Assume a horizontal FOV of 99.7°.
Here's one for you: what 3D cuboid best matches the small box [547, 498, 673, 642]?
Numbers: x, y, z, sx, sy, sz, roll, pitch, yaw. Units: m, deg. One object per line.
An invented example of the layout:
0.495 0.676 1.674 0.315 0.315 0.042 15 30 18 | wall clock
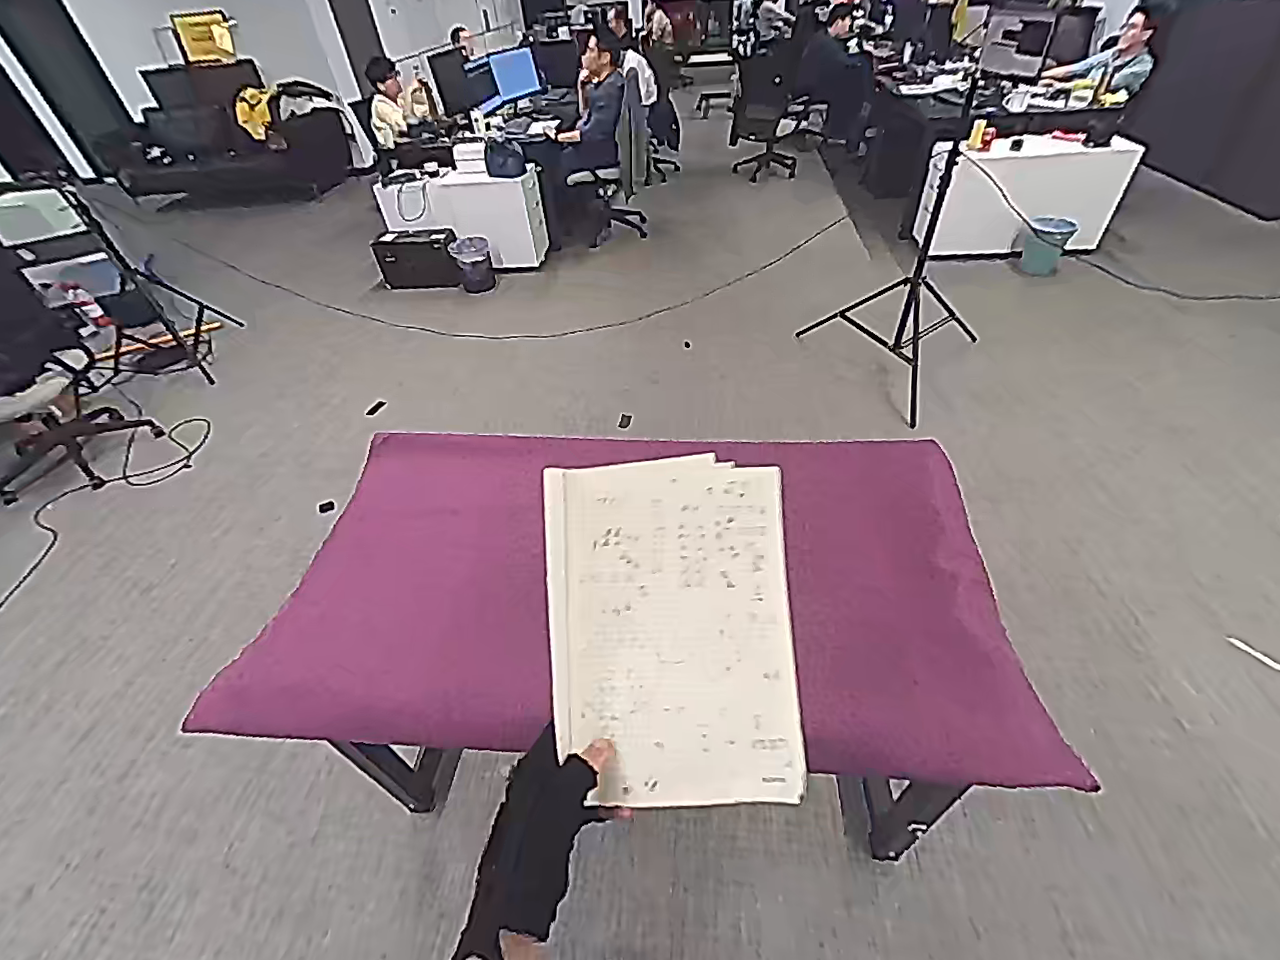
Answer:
-0.036 0.149 0.881 0.179 0.176 0.168 1 43 6 | small box
